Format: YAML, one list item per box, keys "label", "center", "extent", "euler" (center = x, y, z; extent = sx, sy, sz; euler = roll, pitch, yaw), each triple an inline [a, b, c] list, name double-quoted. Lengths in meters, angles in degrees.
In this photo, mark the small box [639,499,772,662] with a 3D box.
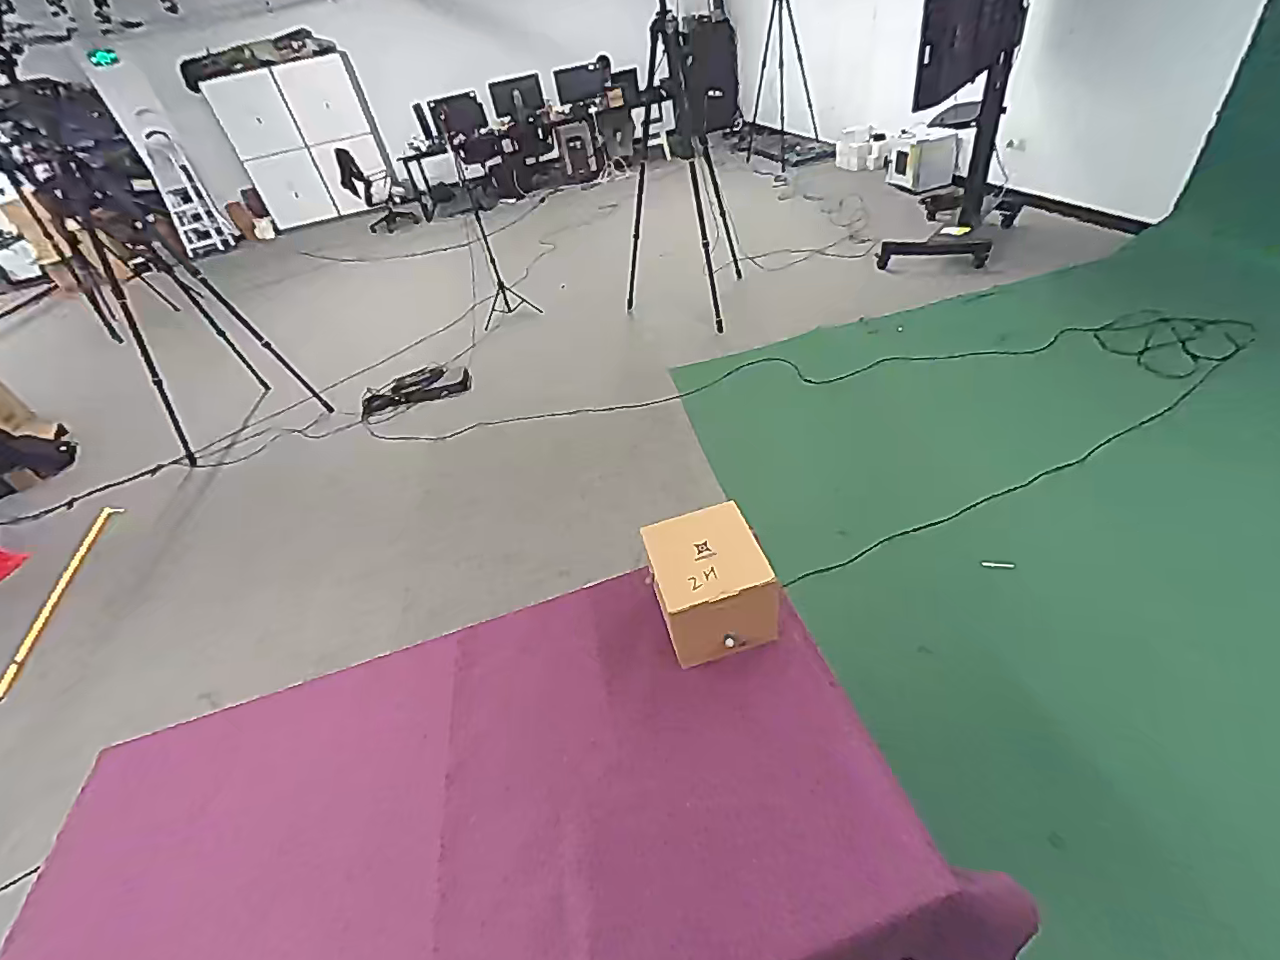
- label: "small box"
  center: [0.107, 0.166, 0.888]
  extent: [0.168, 0.176, 0.179]
  euler: [-17, 43, -3]
